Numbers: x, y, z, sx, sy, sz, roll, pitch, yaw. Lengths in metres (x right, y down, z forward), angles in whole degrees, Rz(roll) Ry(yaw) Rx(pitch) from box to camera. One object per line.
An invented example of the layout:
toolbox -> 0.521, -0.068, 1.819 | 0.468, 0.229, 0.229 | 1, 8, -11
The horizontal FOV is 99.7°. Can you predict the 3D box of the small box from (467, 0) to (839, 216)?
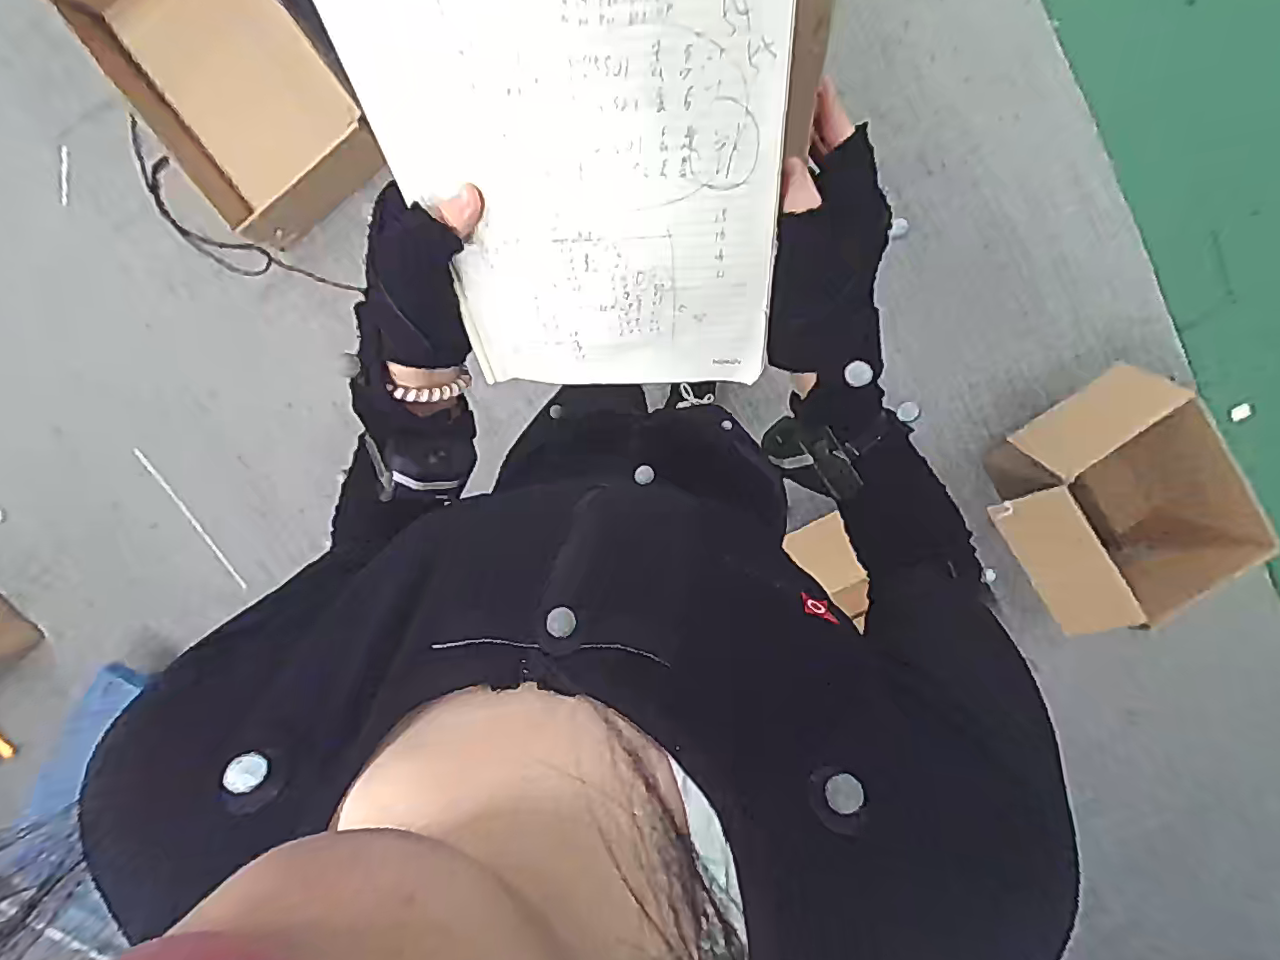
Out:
small box -> 0.010, -0.261, 0.318 | 0.179, 0.176, 0.168 | 3, 125, 3
